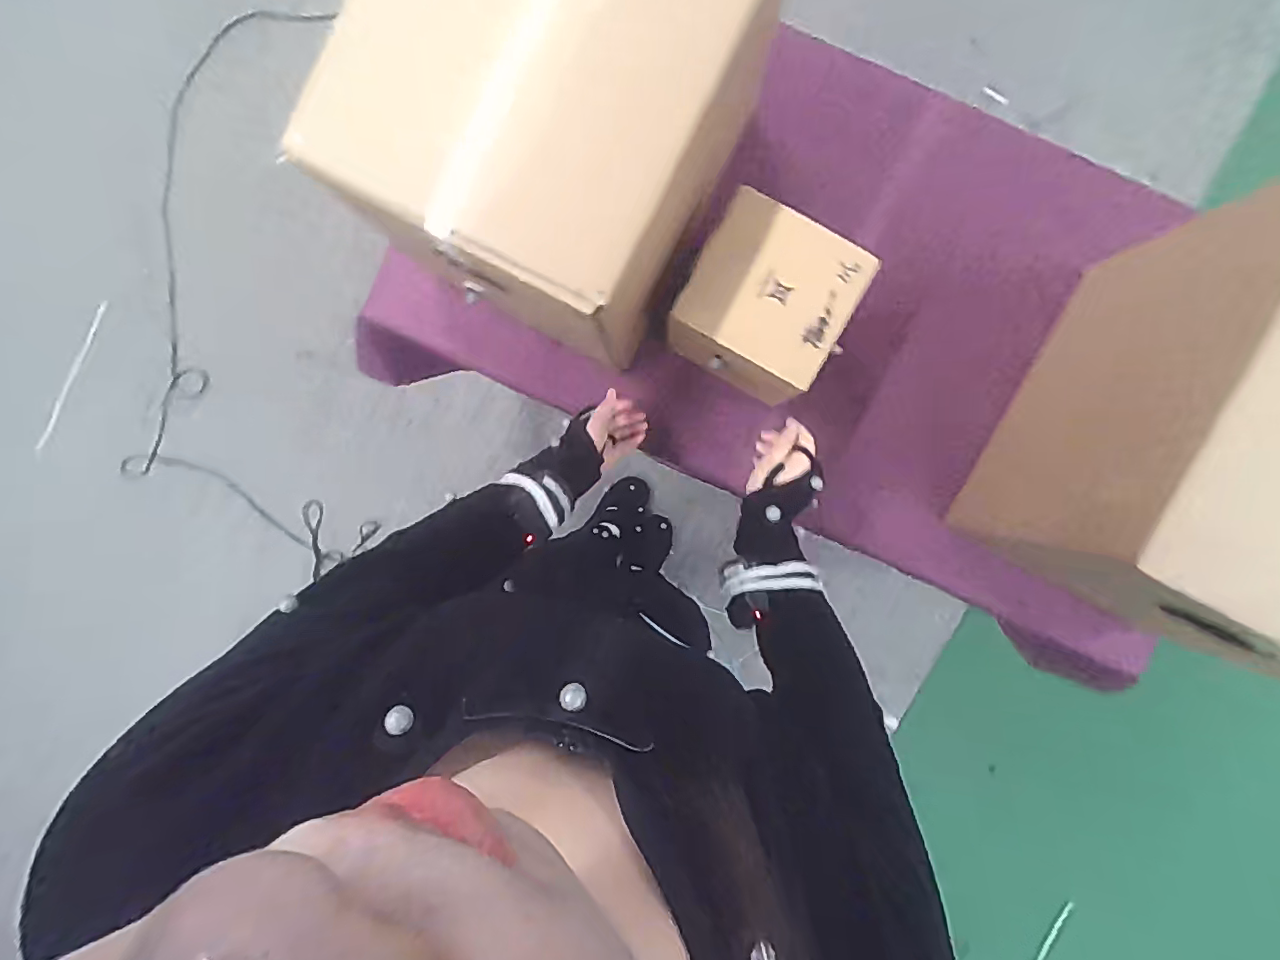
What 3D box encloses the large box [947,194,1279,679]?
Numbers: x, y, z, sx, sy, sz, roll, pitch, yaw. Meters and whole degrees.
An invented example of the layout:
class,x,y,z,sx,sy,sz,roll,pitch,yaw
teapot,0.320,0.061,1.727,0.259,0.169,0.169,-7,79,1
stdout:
class,x,y,z,sx,sy,sz,roll,pitch,yaw
large box,0.648,-0.035,0.603,0.320,0.320,0.408,29,93,1
